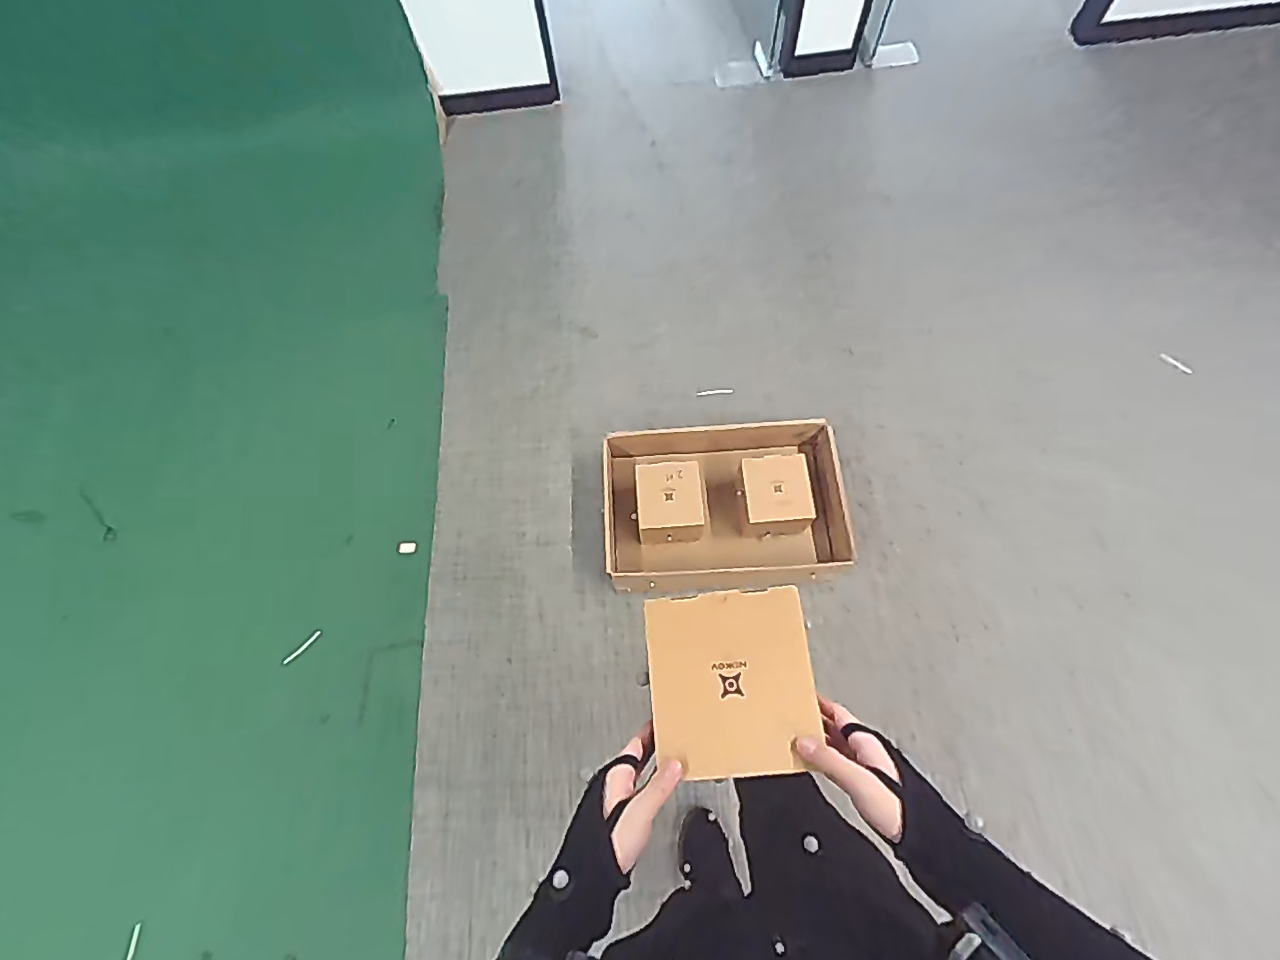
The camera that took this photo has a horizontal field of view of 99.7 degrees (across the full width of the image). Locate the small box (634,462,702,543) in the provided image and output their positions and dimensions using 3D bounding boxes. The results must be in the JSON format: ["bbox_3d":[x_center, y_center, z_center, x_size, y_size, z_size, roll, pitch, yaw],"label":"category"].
[{"bbox_3d":[0.074,0.067,1.441,0.168,0.176,0.179,-3,68,1],"label":"small box"}]

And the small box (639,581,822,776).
[{"bbox_3d":[0.094,0.222,0.616,0.168,0.176,0.179,-6,68,3],"label":"small box"}]

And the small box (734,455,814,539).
[{"bbox_3d":[0.348,0.050,1.436,0.168,0.176,0.179,-4,70,2],"label":"small box"}]
